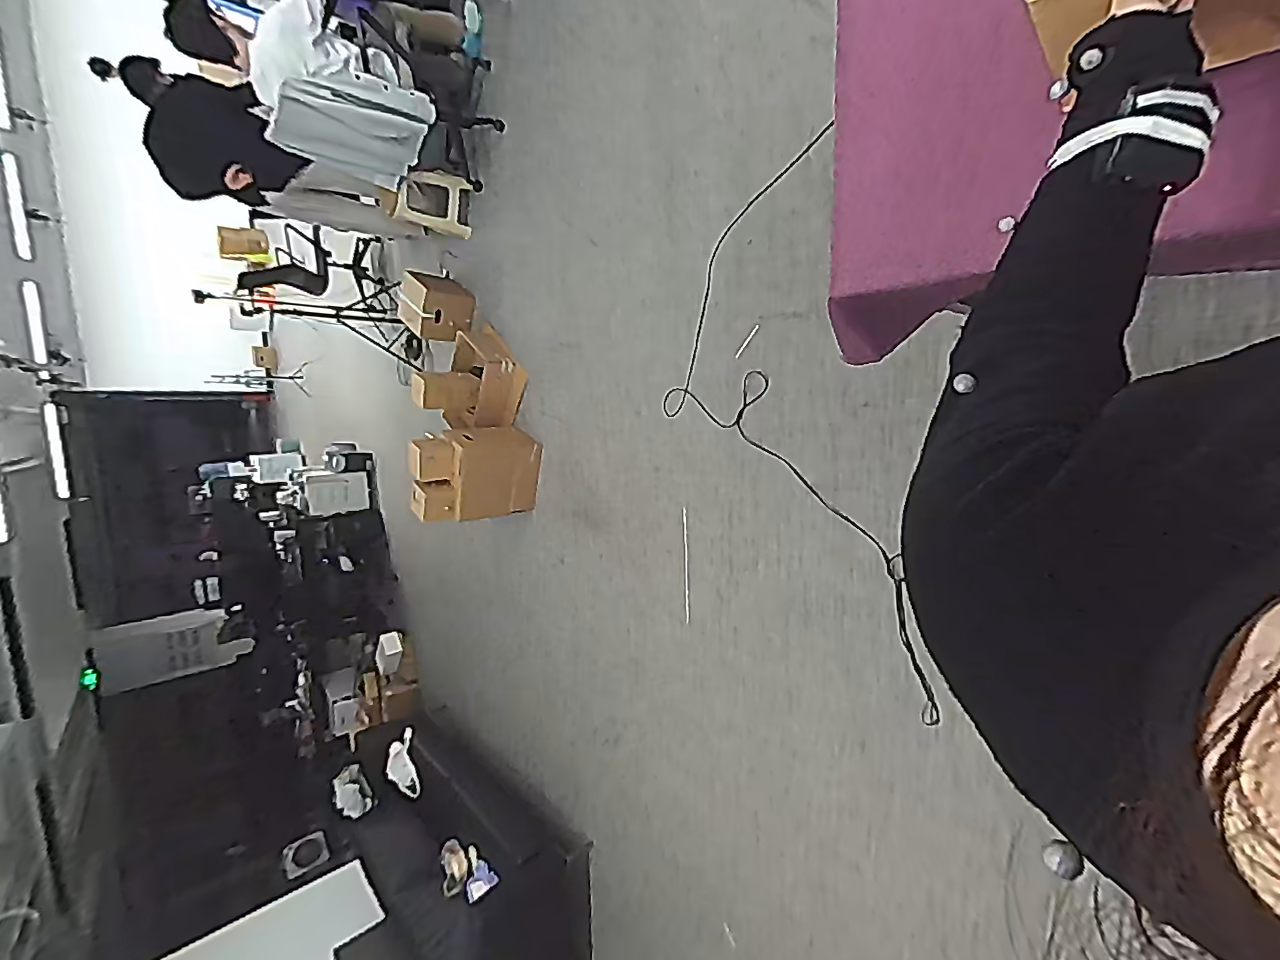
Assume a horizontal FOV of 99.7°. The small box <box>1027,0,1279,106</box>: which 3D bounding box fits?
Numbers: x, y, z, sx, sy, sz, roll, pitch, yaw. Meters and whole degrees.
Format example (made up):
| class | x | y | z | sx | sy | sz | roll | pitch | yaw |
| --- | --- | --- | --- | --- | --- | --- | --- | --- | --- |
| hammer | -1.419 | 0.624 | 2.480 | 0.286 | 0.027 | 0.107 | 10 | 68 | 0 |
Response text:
| class | x | y | z | sx | sy | sz | roll | pitch | yaw |
| --- | --- | --- | --- | --- | --- | --- | --- | --- | --- |
| small box | 0.484 | -0.499 | 0.494 | 0.168 | 0.176 | 0.179 | 12 | 92 | 48 |
